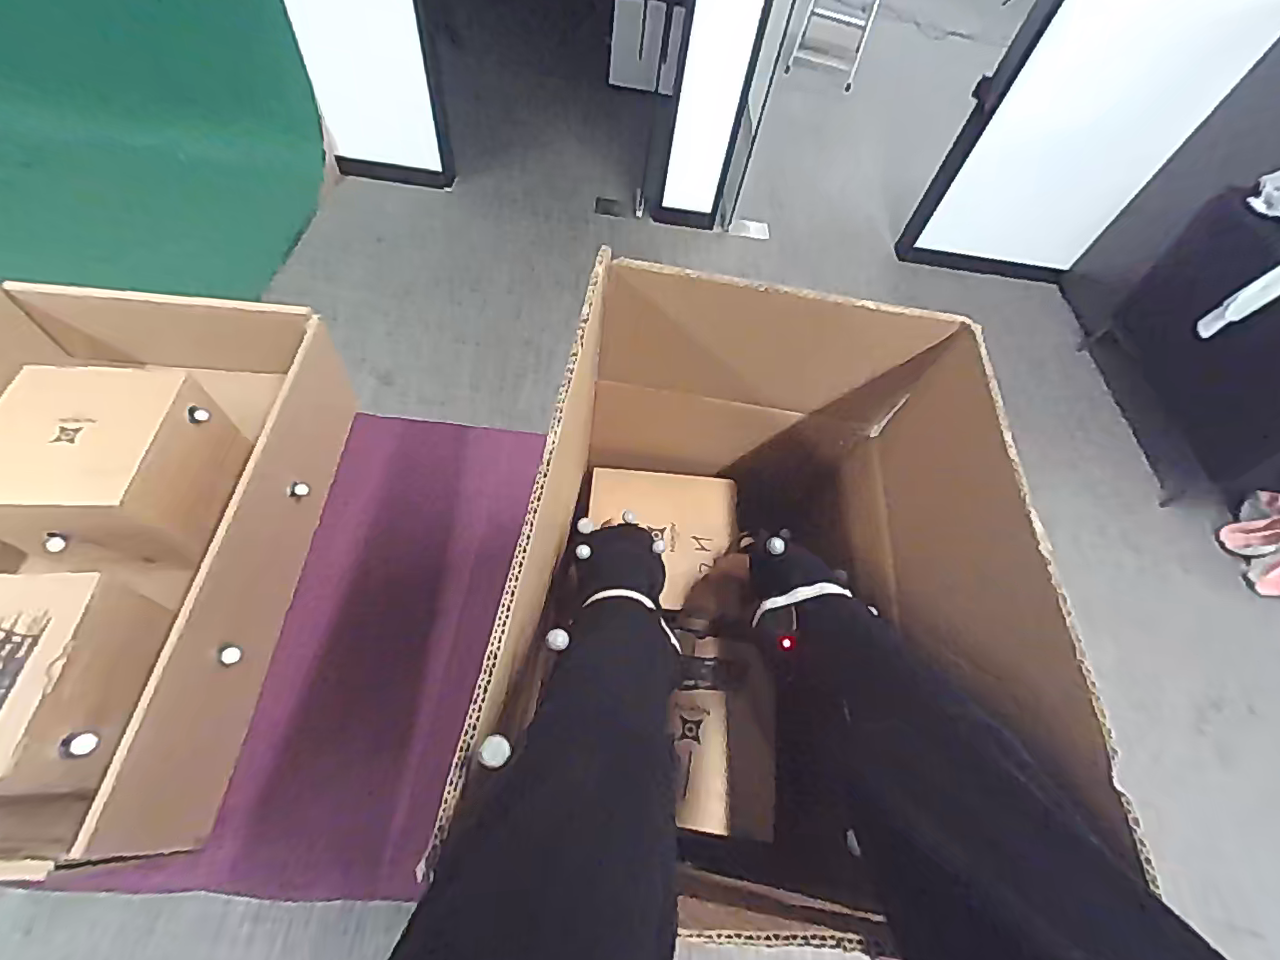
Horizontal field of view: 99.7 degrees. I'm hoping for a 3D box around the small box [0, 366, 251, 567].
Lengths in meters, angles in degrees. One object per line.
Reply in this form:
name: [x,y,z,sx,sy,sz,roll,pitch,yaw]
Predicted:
small box: [-0.592,-0.007,0.620,0.168,0.176,0.179,1,58,-7]
